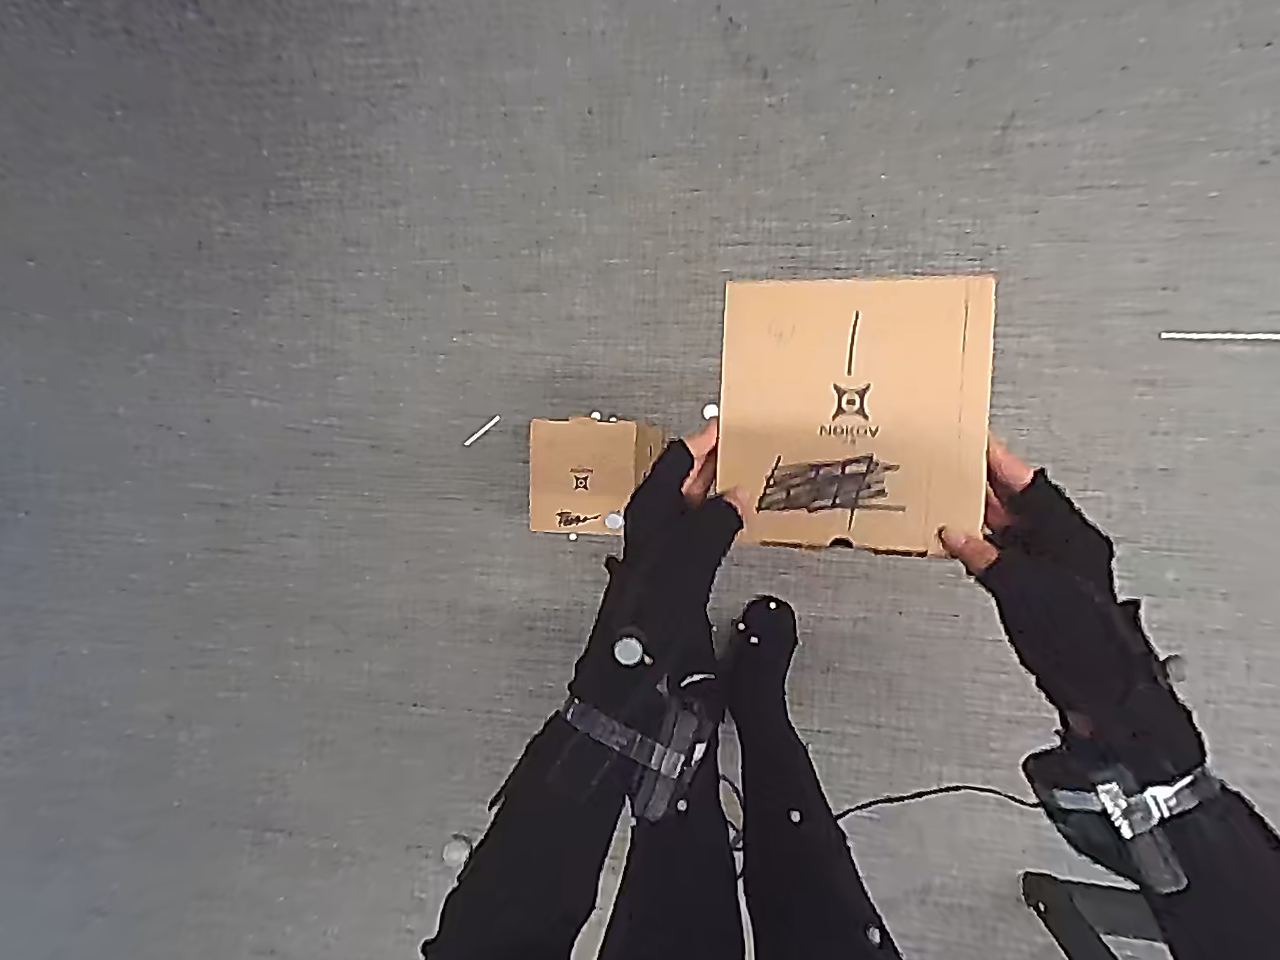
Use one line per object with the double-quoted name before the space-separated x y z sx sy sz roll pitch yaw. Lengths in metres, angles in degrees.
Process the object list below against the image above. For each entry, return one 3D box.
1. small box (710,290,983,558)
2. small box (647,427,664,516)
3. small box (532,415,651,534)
"small box" 0.150 -0.041 0.441 0.168 0.176 0.179 3 90 10
"small box" -0.051 -0.023 1.066 0.179 0.176 0.168 3 94 7
"small box" -0.073 -0.012 0.903 0.168 0.176 0.179 3 93 7
